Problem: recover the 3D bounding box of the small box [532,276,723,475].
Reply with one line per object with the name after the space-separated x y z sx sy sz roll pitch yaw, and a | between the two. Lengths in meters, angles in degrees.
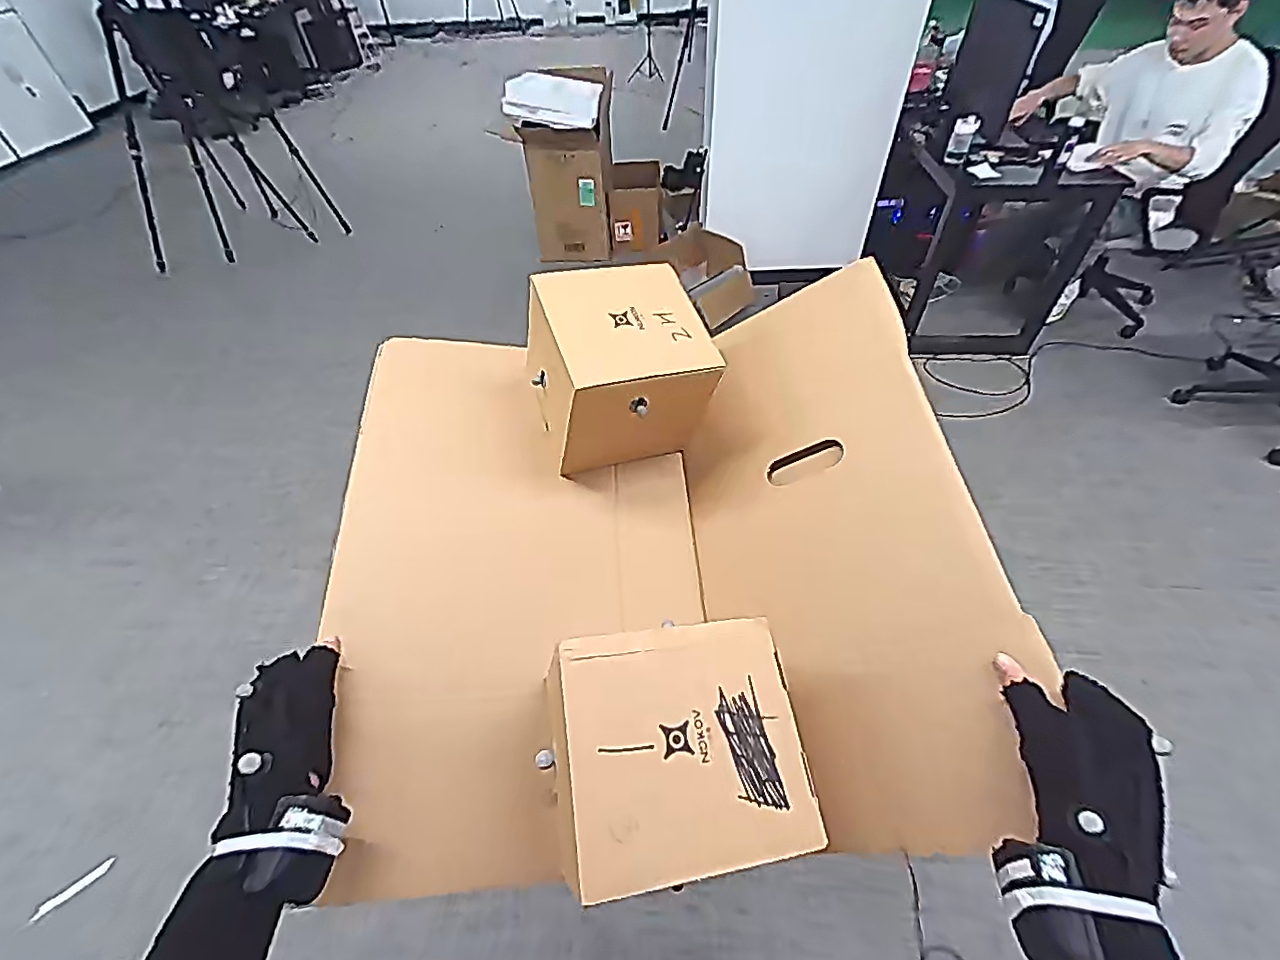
-0.030 -0.123 0.660 0.179 0.176 0.168 -12 64 -21 | small box
